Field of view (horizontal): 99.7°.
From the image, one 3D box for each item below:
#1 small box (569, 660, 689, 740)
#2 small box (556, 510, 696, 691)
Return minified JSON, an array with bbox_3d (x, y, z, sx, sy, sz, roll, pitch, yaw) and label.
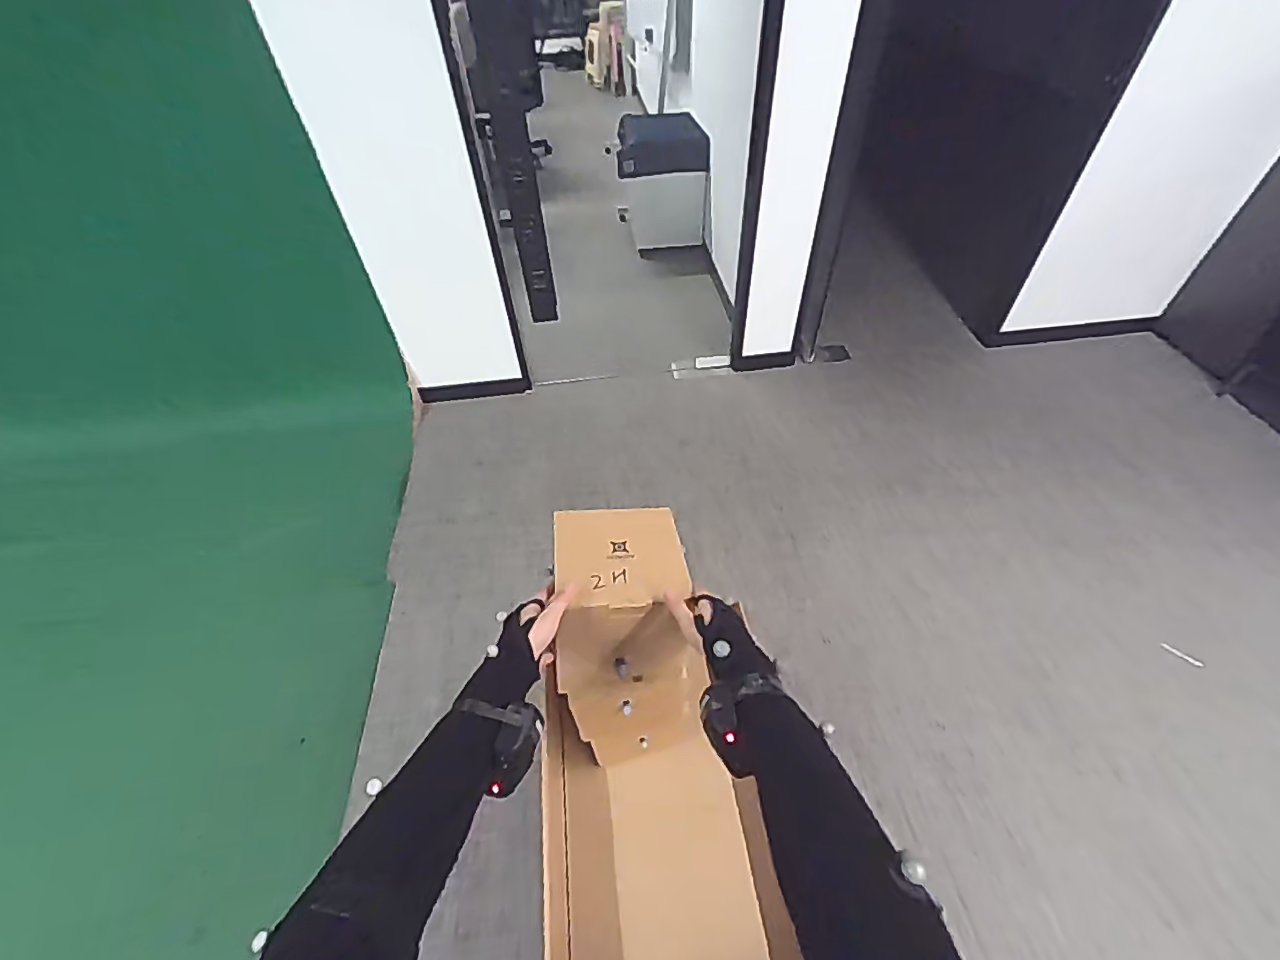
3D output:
[{"bbox_3d":[-0.025,0.302,0.884,0.179,0.176,0.168,-11,48,-5],"label":"small box"},{"bbox_3d":[-0.030,0.158,0.735,0.168,0.176,0.179,-1,36,-8],"label":"small box"}]
